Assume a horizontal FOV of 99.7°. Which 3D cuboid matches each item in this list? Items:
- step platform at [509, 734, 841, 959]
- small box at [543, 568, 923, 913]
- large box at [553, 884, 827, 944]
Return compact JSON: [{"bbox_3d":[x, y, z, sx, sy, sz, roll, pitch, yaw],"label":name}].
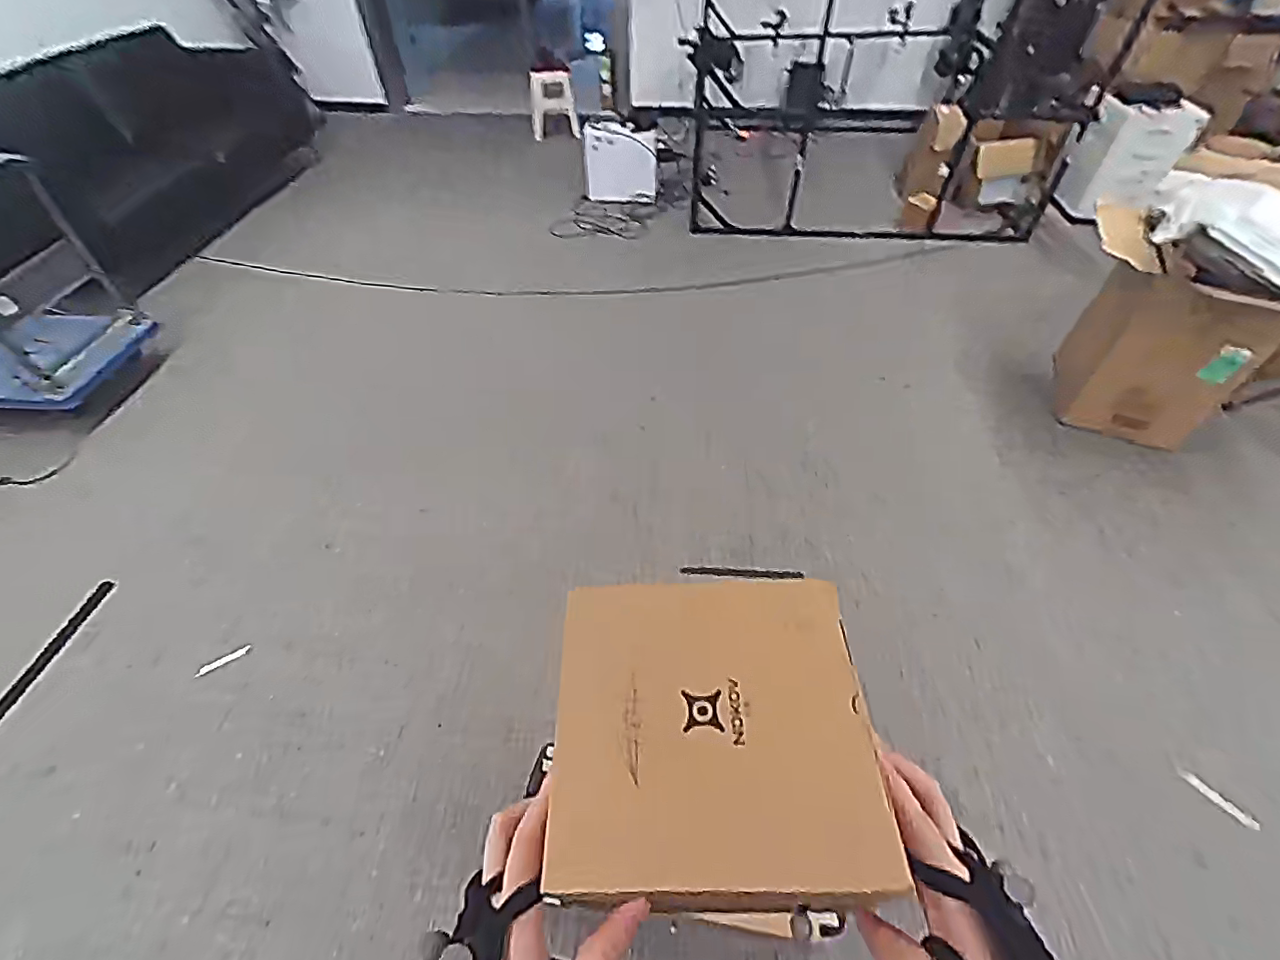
[{"bbox_3d":[0.073,0.773,1.164,0.684,0.204,0.286,8,49,9],"label":"step platform"},{"bbox_3d":[0.049,0.174,0.357,0.179,0.176,0.168,-3,48,5],"label":"small box"},{"bbox_3d":[0.096,0.613,0.986,0.408,0.320,0.320,6,48,8],"label":"large box"}]
